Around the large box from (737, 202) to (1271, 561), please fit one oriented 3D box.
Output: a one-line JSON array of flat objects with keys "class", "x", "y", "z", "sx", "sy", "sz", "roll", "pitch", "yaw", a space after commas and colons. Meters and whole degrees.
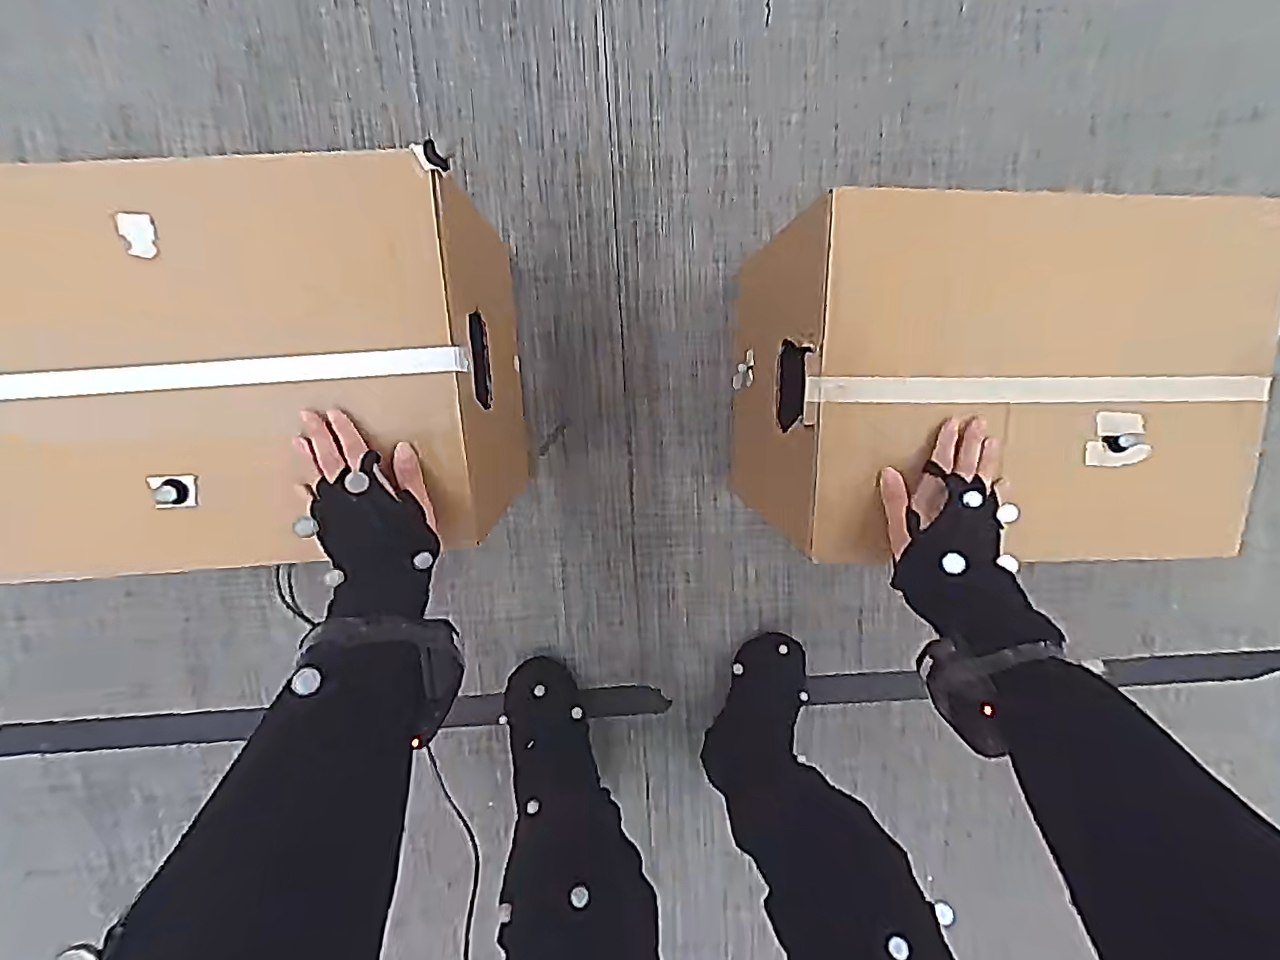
[{"class": "large box", "x": 0.343, "y": -0.104, "z": 0.628, "sx": 0.408, "sy": 0.320, "sz": 0.320, "roll": 0, "pitch": 100, "yaw": -4}]
